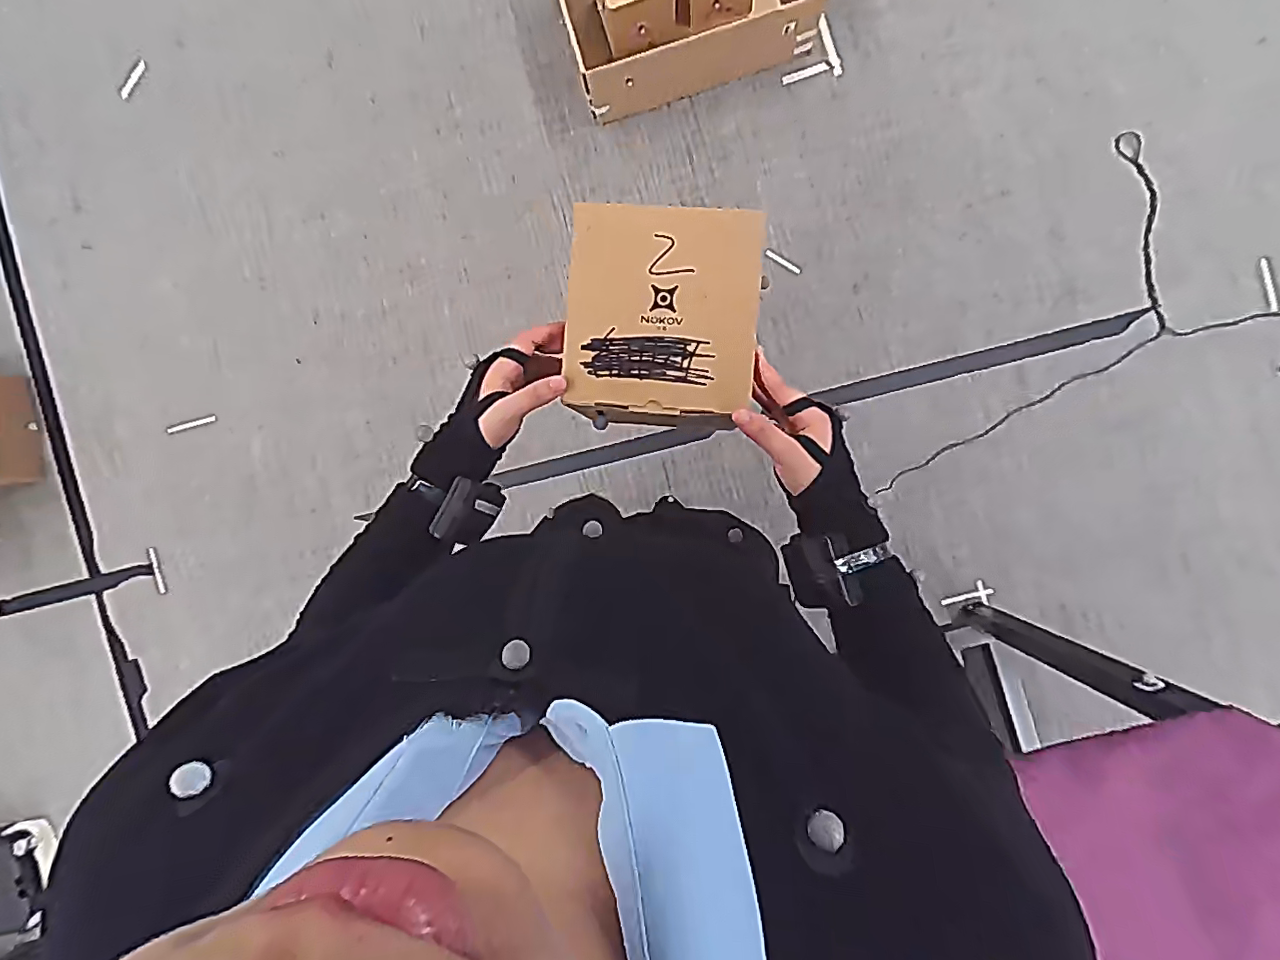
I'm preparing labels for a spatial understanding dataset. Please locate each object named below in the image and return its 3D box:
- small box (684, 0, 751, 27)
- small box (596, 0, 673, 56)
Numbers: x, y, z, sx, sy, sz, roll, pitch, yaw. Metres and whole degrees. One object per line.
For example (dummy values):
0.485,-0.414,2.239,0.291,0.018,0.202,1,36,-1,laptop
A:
0.186,-1.281,1.329,0.168,0.176,0.179,-11,91,4,small box
-0.017,-1.202,1.340,0.168,0.176,0.179,-18,90,2,small box
